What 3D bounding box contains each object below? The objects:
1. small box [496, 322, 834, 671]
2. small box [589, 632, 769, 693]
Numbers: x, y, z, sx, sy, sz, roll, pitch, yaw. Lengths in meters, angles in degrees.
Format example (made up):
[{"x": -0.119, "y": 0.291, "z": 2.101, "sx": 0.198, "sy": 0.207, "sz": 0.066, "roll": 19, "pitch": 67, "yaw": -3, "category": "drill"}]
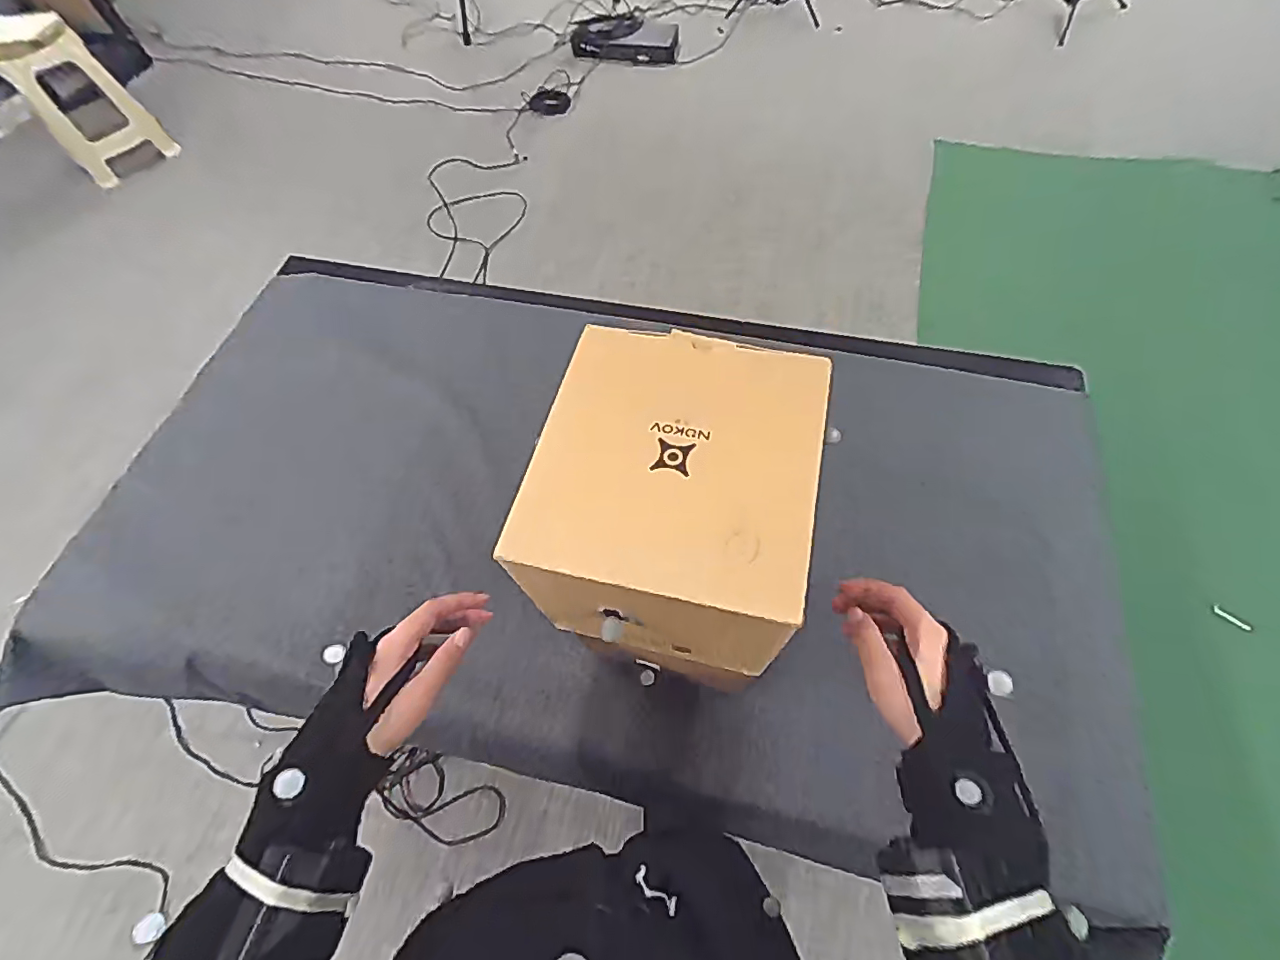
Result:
[{"x": 0.028, "y": 0.020, "z": 0.380, "sx": 0.168, "sy": 0.176, "sz": 0.179, "roll": 10, "pitch": 62, "yaw": 10, "category": "small box"}, {"x": 0.045, "y": 0.091, "z": 0.526, "sx": 0.168, "sy": 0.176, "sz": 0.179, "roll": 11, "pitch": 64, "yaw": 11, "category": "small box"}]
